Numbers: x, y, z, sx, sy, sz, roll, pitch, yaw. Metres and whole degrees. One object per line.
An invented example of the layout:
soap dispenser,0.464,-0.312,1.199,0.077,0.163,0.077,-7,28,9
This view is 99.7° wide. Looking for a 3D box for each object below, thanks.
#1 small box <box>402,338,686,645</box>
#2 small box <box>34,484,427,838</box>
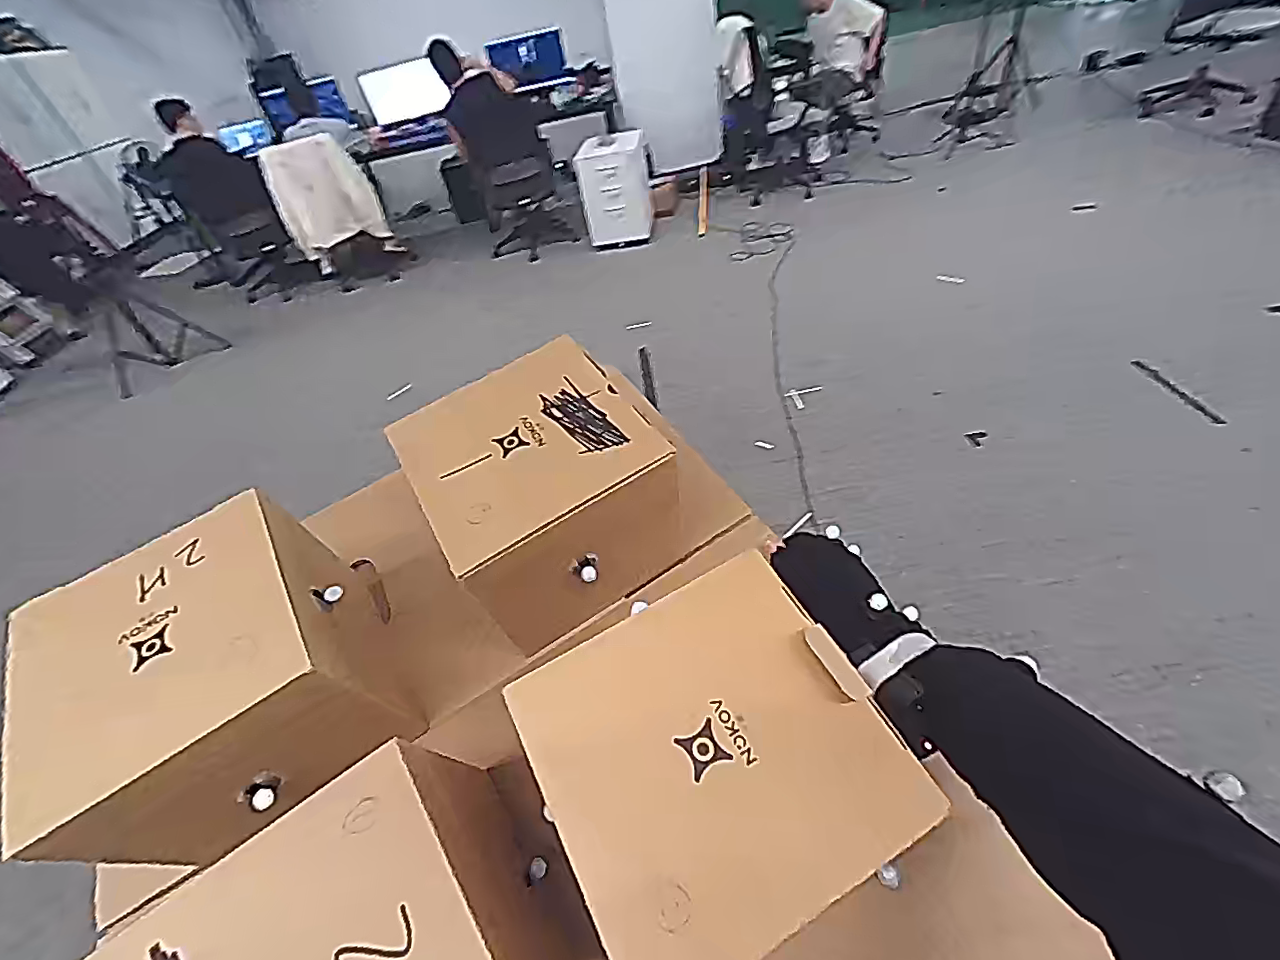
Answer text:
small box,-0.073,0.014,0.482,0.179,0.176,0.168,-30,56,-12
small box,-0.295,0.143,0.421,0.168,0.176,0.179,-31,55,-15
